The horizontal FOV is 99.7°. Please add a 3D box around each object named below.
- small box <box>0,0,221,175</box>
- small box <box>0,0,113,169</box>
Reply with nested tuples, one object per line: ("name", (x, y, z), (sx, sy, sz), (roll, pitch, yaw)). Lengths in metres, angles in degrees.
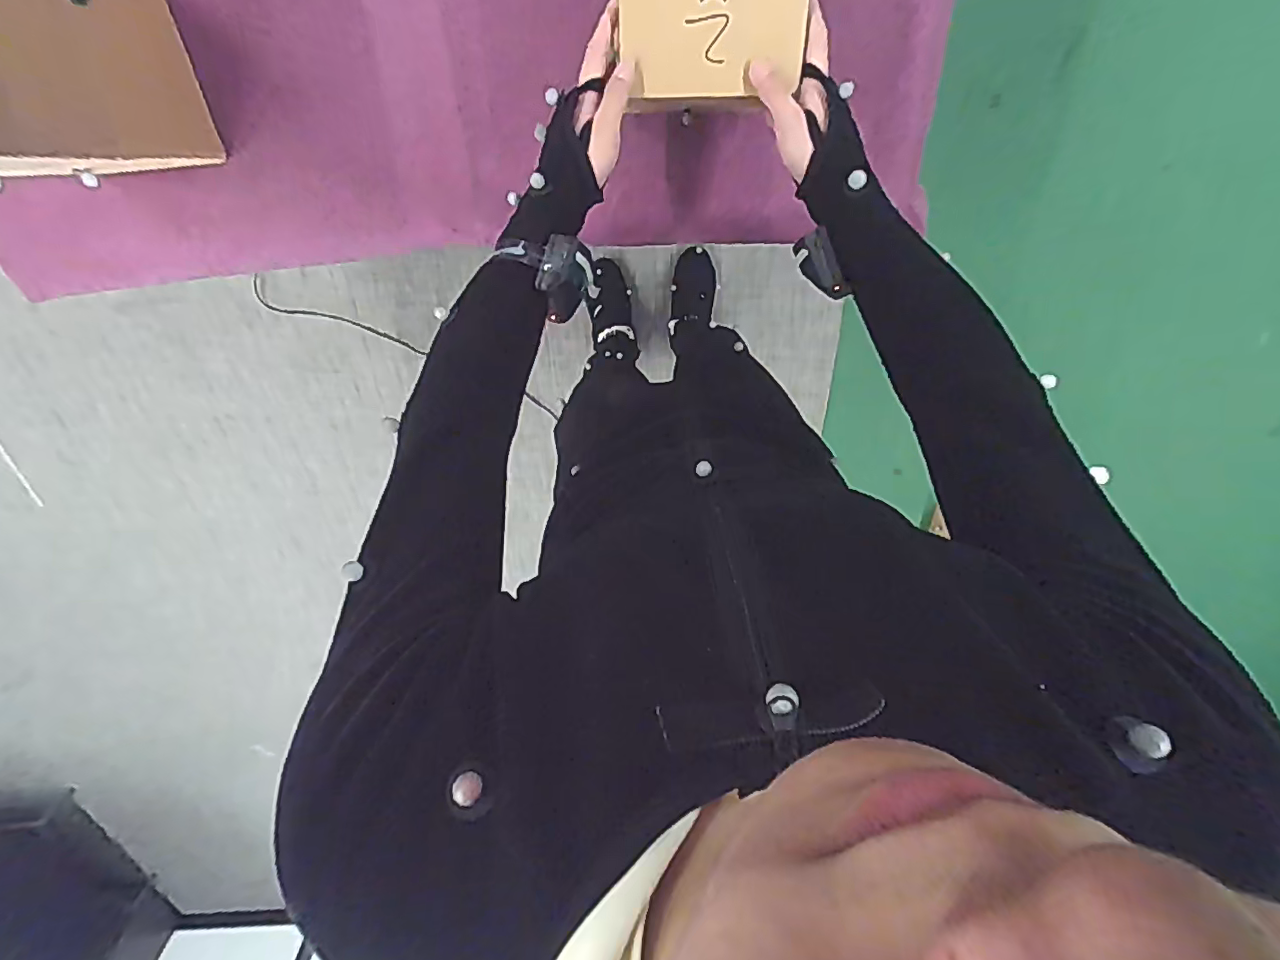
("small box", (-0.591, -0.421, 0.557), (0.168, 0.176, 0.179), (-4, 119, 1))
("small box", (-0.587, -0.341, 0.413), (0.168, 0.176, 0.179), (-4, 120, 1))
